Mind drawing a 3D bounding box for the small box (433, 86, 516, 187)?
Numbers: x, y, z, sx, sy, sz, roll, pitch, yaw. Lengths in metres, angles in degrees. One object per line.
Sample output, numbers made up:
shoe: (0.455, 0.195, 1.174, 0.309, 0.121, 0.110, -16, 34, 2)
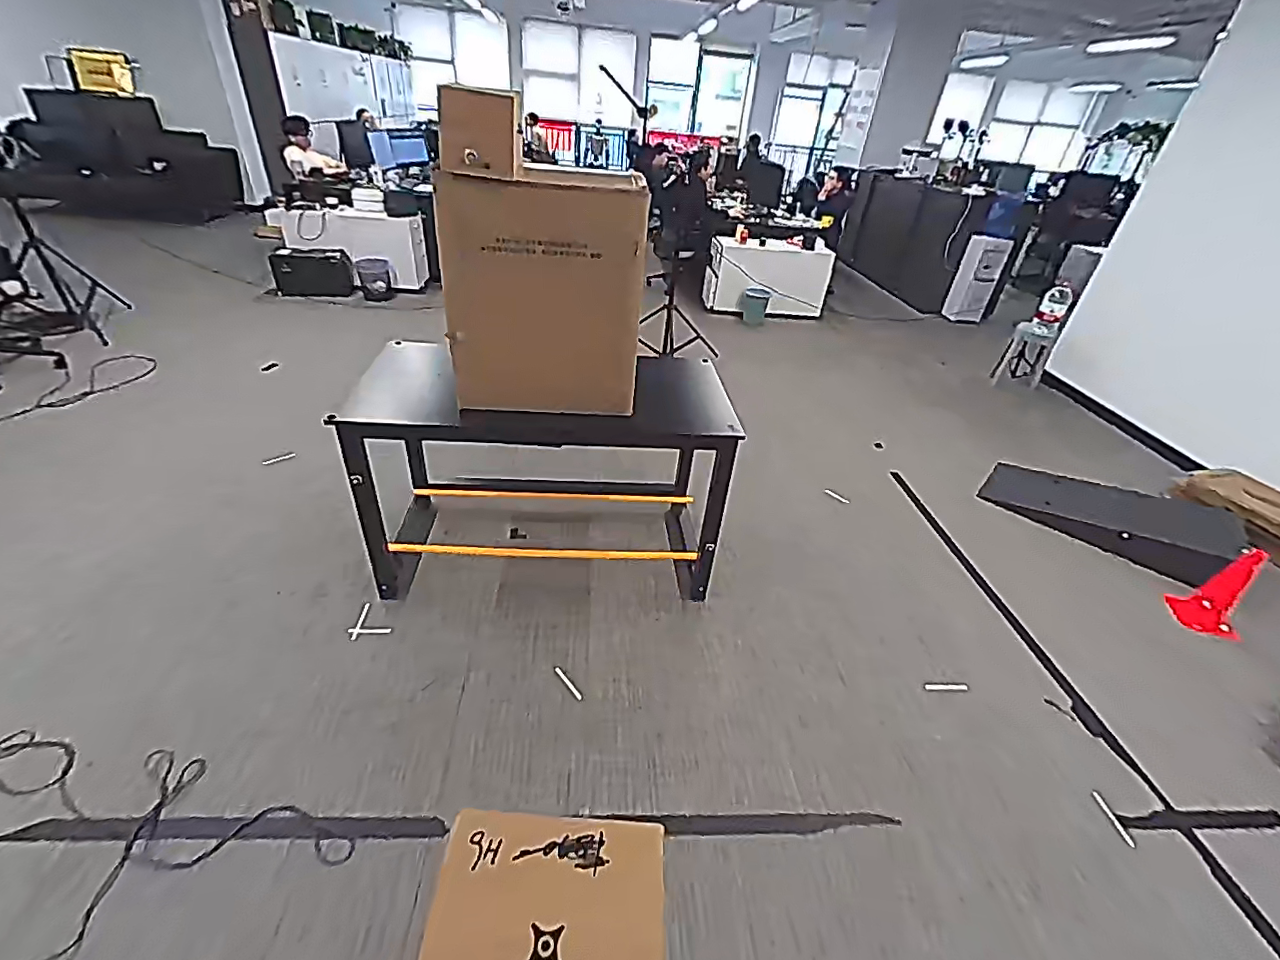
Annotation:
small box: (-0.379, -0.804, 1.267, 0.168, 0.176, 0.179, 0, 38, -11)

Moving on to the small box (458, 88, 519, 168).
small box: (-0.414, -0.916, 1.419, 0.168, 0.176, 0.179, 3, 34, -4)
